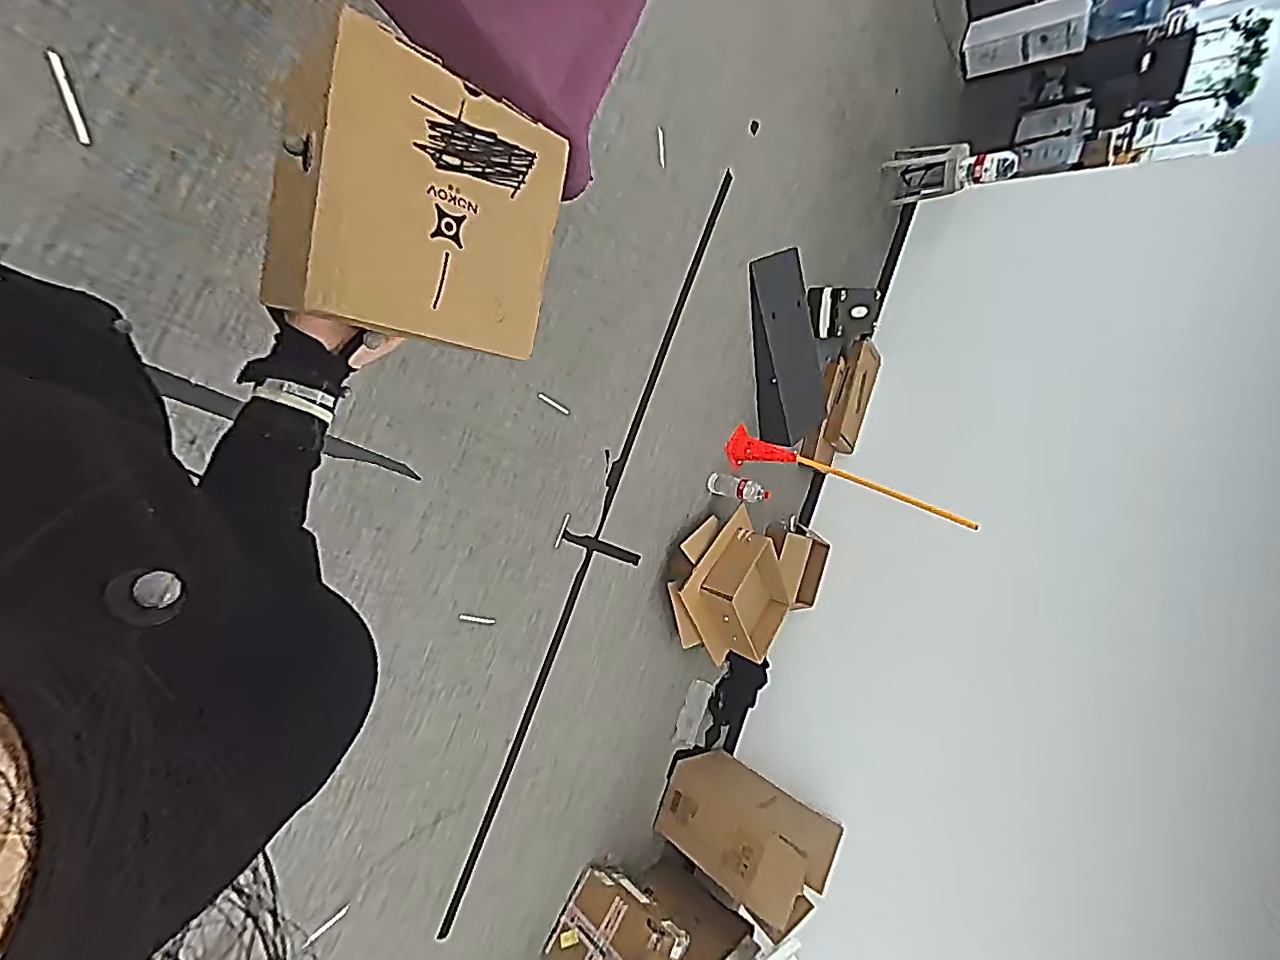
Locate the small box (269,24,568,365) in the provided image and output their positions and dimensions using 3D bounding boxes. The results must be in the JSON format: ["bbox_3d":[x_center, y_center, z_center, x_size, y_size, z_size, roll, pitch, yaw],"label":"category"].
[{"bbox_3d":[-0.187,-0.205,0.445,0.168,0.176,0.179,5,101,-44],"label":"small box"}]
